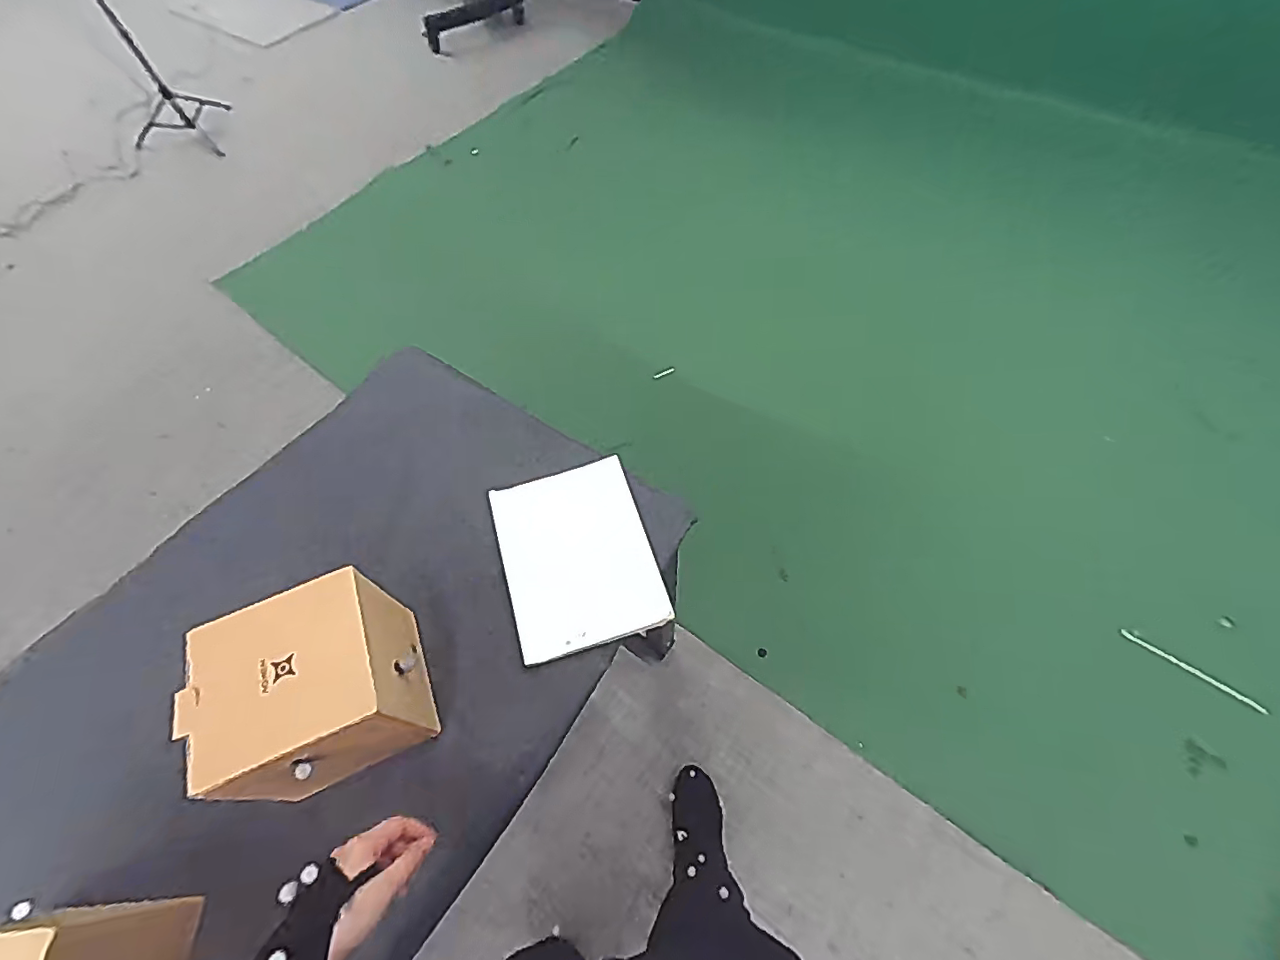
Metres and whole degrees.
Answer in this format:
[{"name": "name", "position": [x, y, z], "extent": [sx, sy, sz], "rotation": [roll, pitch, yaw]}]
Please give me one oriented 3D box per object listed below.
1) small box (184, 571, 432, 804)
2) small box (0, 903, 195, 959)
[{"name": "small box", "position": [-0.349, 0.230, 0.598], "extent": [0.179, 0.176, 0.168], "rotation": [-23, 61, -9]}, {"name": "small box", "position": [-0.541, 0.481, 0.460], "extent": [0.179, 0.176, 0.168], "rotation": [-5, 59, 0]}]
